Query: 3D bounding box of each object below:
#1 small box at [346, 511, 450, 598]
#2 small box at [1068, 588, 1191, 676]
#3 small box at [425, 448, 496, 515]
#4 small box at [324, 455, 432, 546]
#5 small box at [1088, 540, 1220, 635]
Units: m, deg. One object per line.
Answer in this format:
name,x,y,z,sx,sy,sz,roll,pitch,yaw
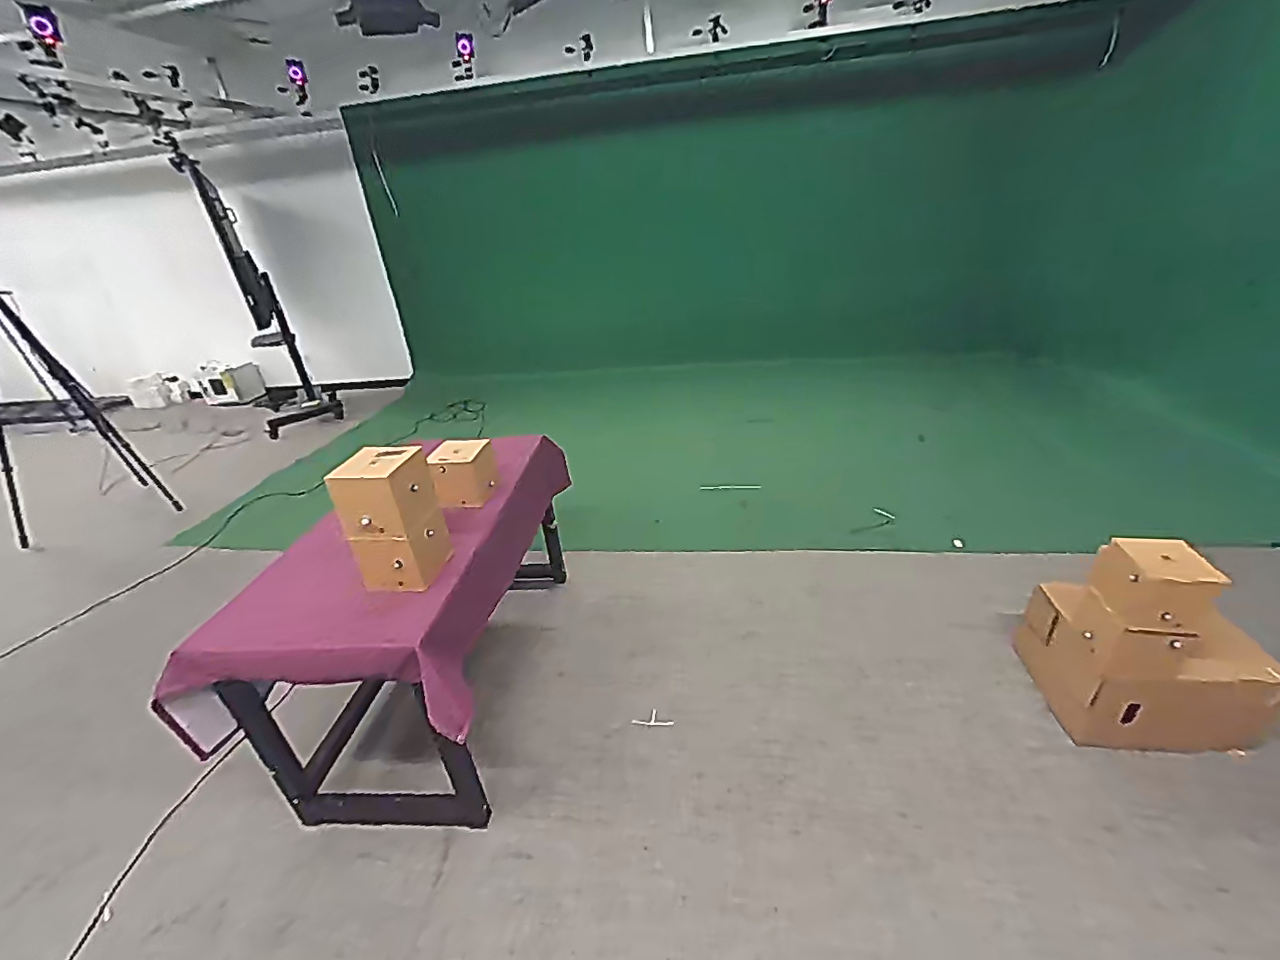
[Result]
small box,-0.626,0.197,1.427,0.168,0.176,0.179,-1,27,9
small box,1.339,0.421,1.495,0.179,0.176,0.168,0,28,10
small box,-0.595,0.004,1.800,0.168,0.176,0.179,-2,27,9
small box,-0.644,0.049,1.358,0.168,0.176,0.179,-1,28,9
small box,1.328,0.278,1.417,0.168,0.176,0.179,1,29,11
